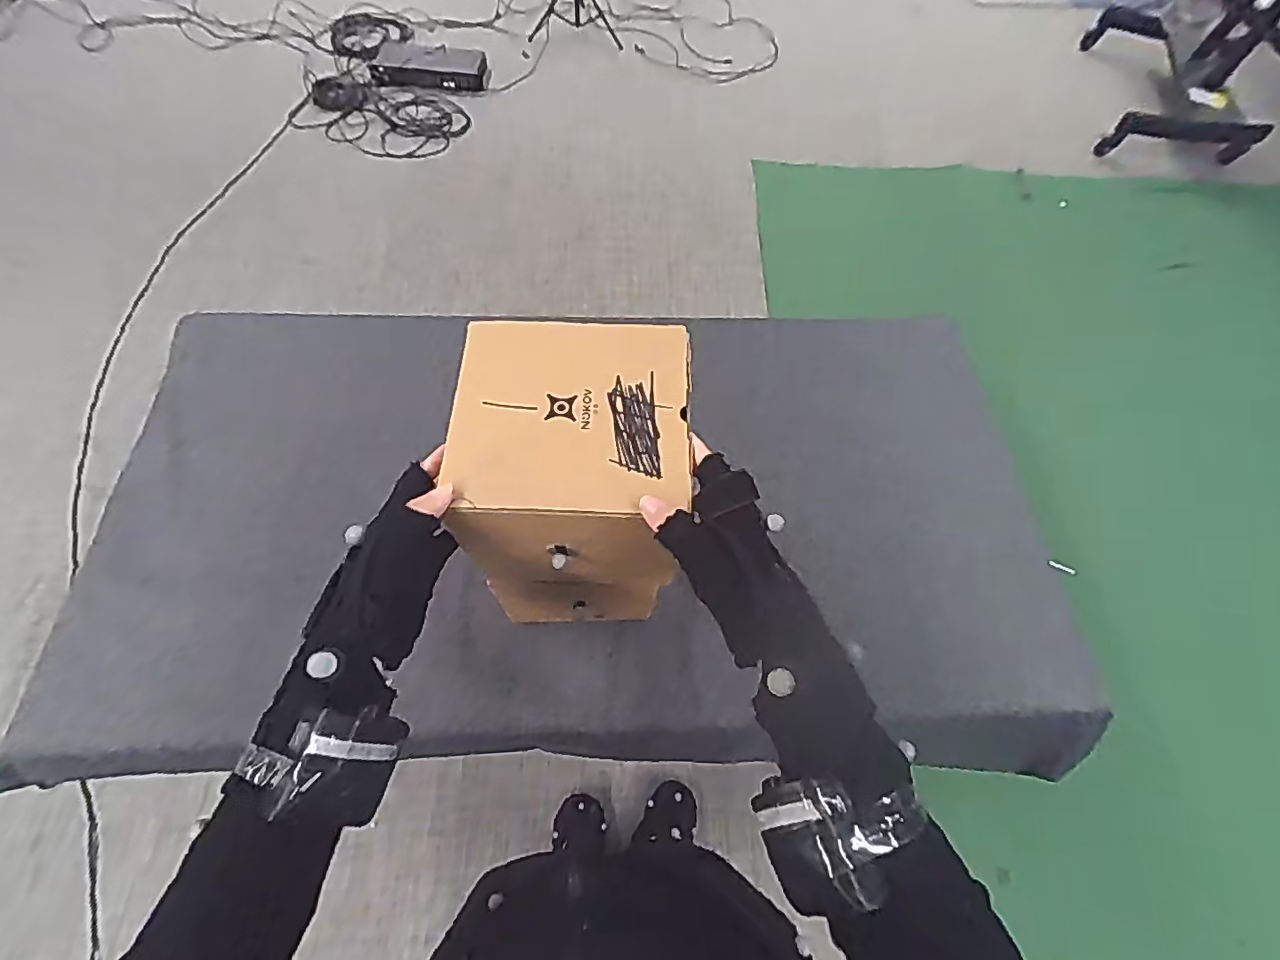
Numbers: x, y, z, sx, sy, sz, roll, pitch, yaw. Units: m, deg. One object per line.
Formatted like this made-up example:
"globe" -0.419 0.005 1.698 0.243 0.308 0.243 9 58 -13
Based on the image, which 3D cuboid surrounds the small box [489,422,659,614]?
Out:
"small box" -0.067 0.052 0.619 0.168 0.176 0.179 -2 63 -3
